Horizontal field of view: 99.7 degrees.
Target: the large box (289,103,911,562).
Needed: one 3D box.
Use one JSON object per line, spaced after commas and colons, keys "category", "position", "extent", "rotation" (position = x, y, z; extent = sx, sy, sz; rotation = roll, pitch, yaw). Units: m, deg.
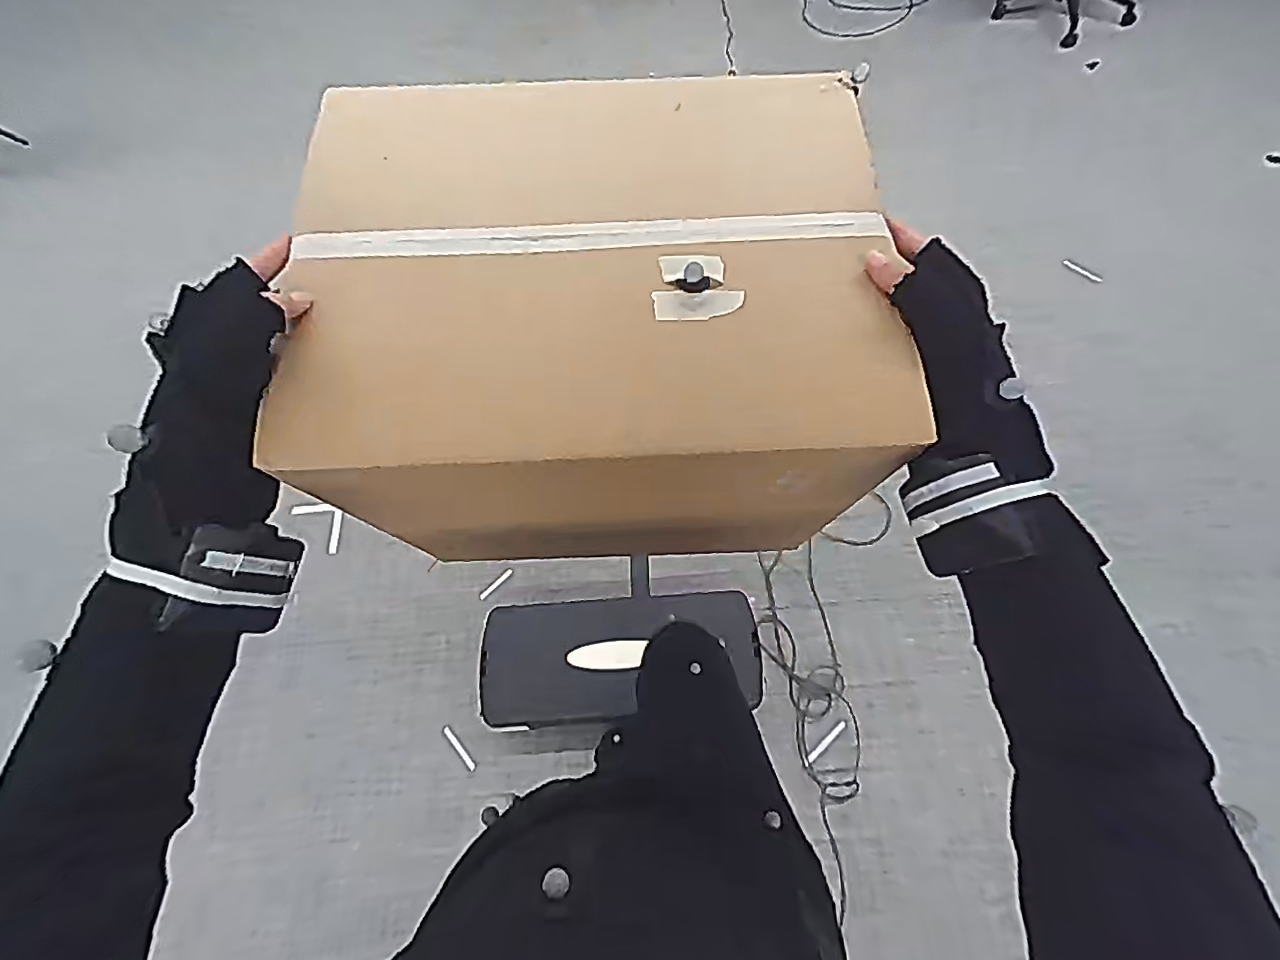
{"category": "large box", "position": [-0.032, -0.109, 0.531], "extent": [0.408, 0.320, 0.320], "rotation": [-2, 71, -1]}
